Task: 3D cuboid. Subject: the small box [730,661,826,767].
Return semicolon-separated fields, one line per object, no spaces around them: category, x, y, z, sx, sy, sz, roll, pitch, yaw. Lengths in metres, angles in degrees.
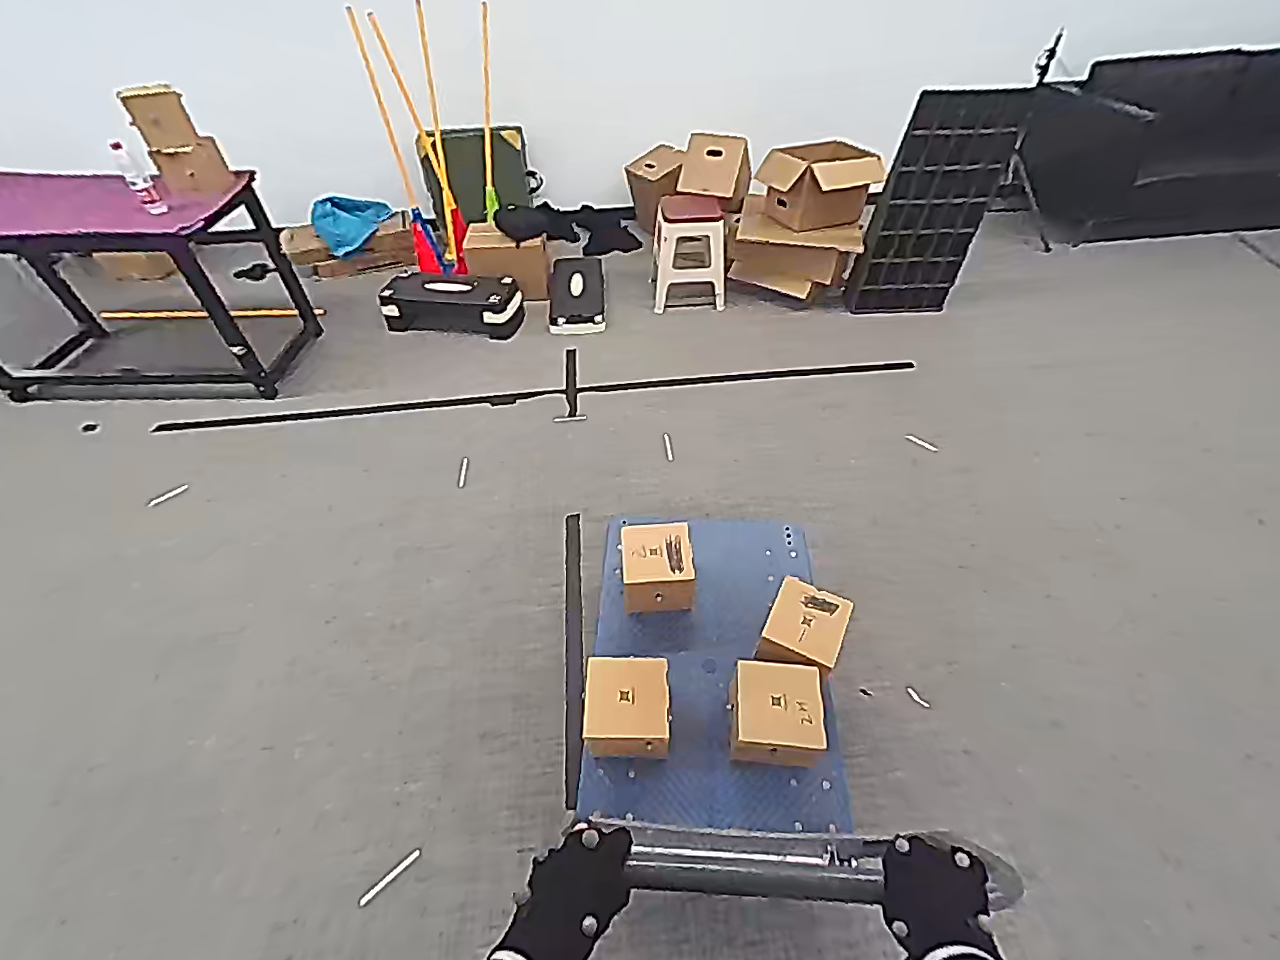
small box;0.290;0.511;1.173;0.179;0.176;0.168;4;52;5

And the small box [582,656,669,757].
small box;-0.027;0.501;1.189;0.179;0.176;0.168;1;51;0

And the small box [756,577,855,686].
small box;0.386;0.368;1.286;0.168;0.176;0.179;22;56;19
